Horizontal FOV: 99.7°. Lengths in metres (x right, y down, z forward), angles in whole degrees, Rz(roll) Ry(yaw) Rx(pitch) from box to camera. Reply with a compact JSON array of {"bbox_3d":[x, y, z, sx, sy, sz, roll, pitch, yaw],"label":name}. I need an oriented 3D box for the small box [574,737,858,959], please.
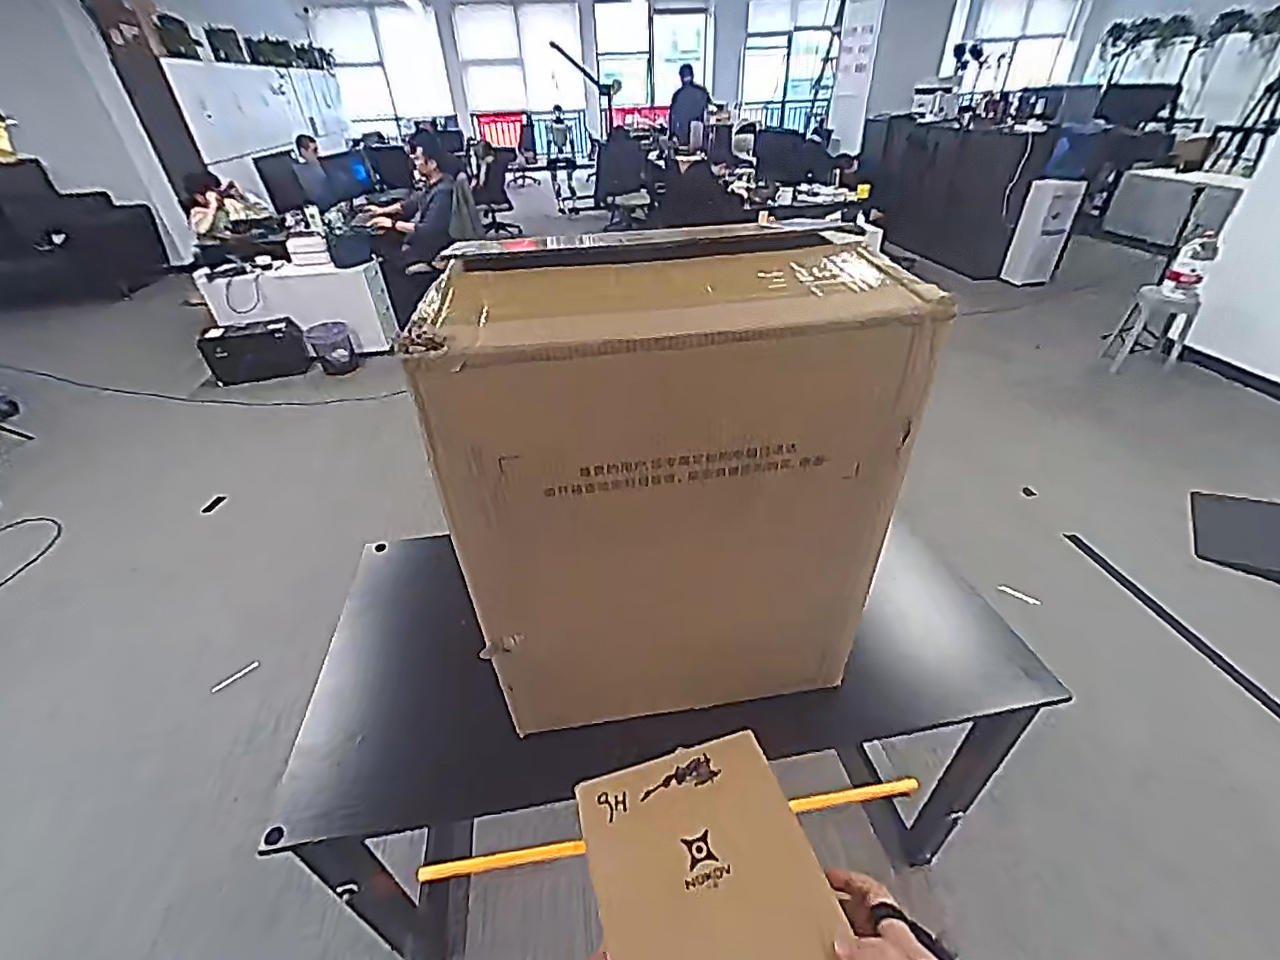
[{"bbox_3d":[0.051,0.355,0.443,0.168,0.176,0.179,-12,36,-12],"label":"small box"}]
